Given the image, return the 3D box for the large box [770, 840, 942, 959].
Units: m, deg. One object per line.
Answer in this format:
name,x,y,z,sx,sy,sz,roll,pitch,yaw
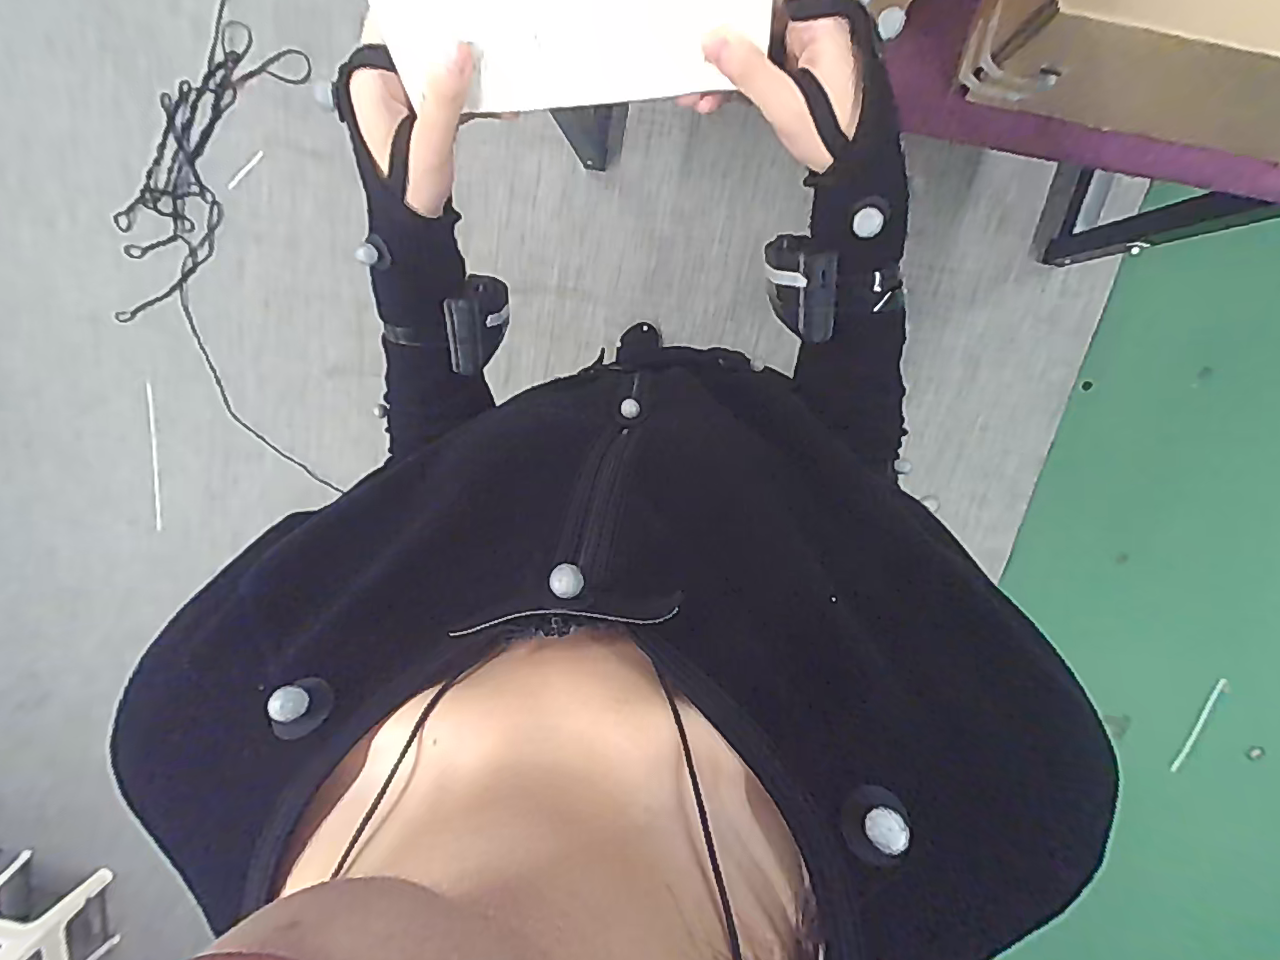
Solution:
large box,0.613,1.328,1.608,0.408,0.320,0.320,-2,103,5
